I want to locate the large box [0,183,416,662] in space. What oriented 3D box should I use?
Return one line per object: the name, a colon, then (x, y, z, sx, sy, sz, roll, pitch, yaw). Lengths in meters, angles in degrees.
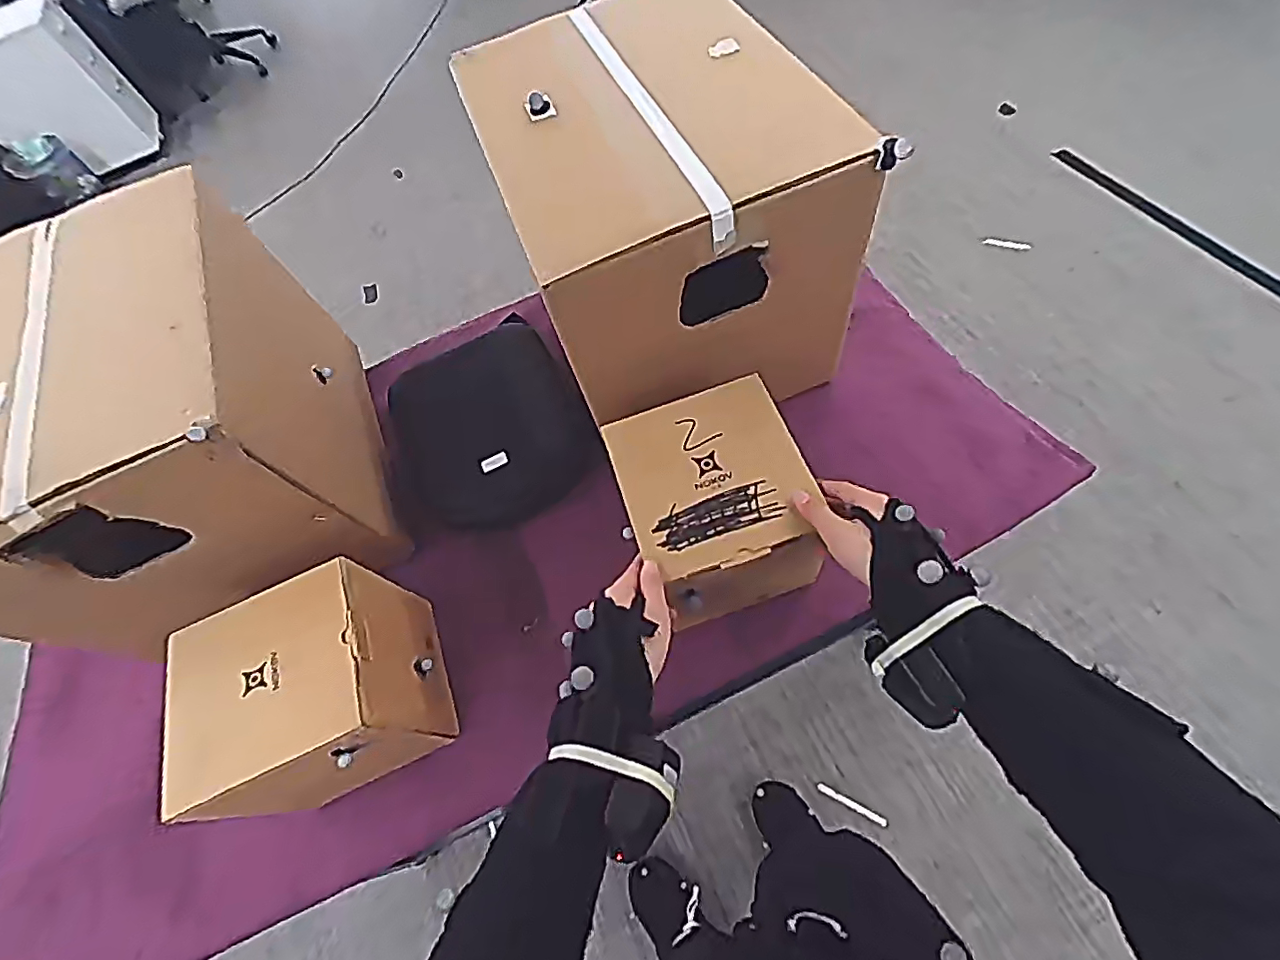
large box: (-0.527, -0.054, 0.644, 0.320, 0.320, 0.408, -28, 64, -4)
